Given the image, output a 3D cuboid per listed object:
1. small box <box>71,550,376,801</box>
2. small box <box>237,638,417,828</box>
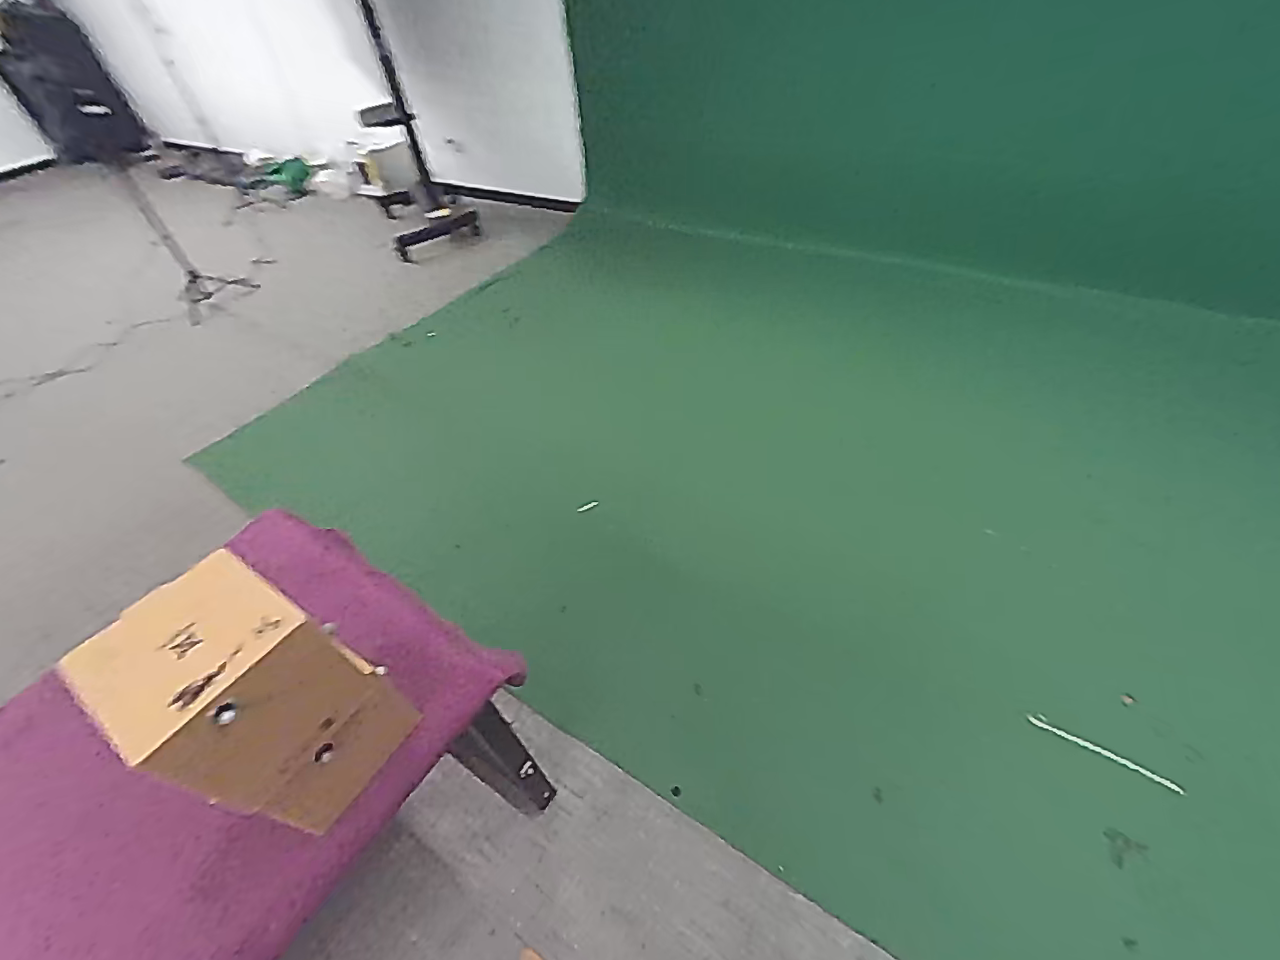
[{"bbox_3d":[-0.436,0.214,0.591,0.179,0.176,0.168,23,54,26],"label":"small box"},{"bbox_3d":[-0.436,0.320,0.718,0.168,0.176,0.179,22,52,24],"label":"small box"}]
